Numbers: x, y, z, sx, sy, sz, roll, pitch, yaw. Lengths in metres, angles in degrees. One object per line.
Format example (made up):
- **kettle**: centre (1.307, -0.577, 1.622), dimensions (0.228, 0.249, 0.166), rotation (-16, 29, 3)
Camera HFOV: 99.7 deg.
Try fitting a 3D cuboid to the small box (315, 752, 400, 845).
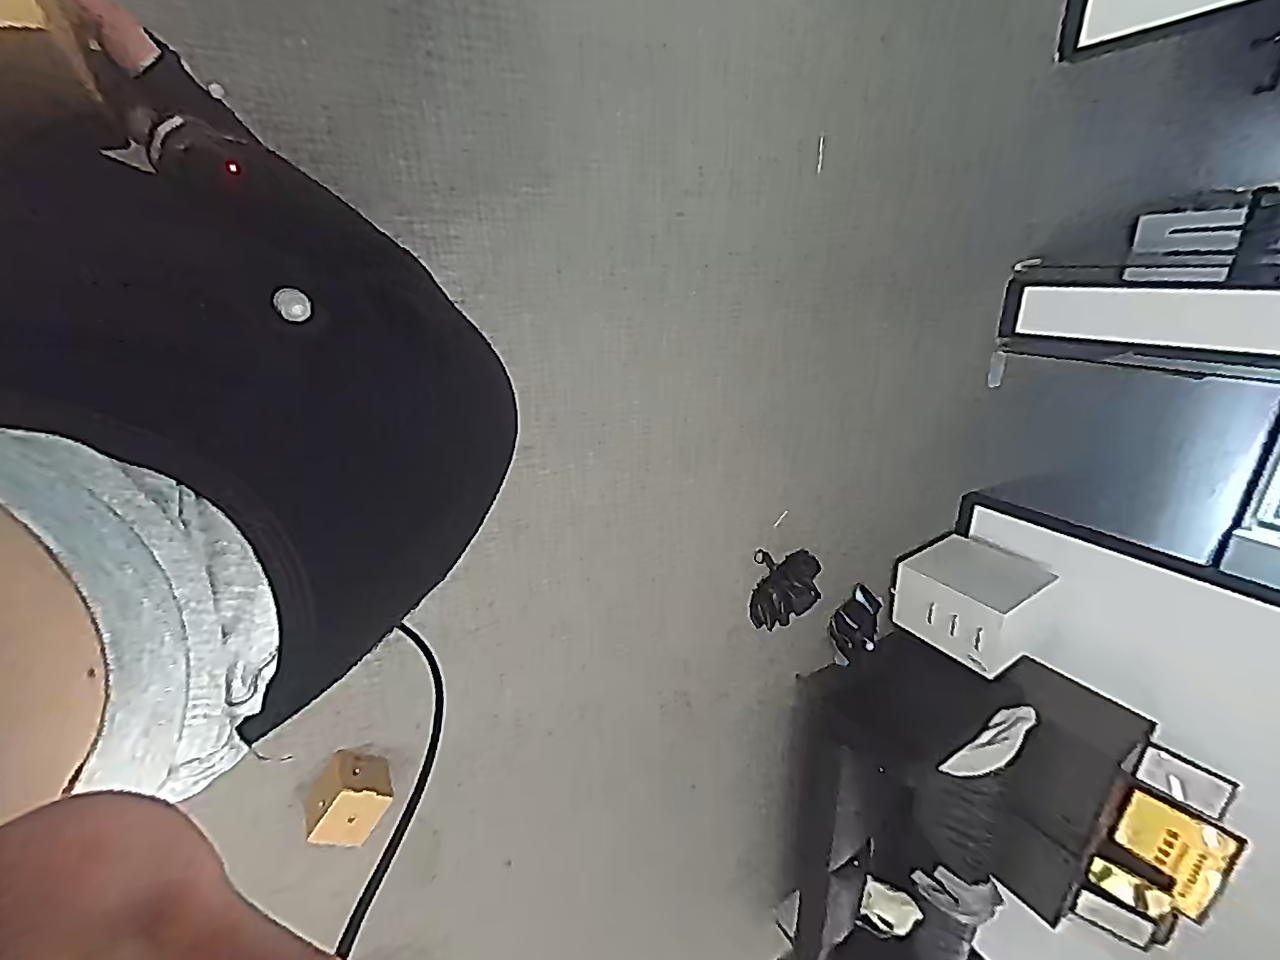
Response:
- **small box**: centre (-0.867, 0.966, 1.646), dimensions (0.168, 0.176, 0.179), rotation (35, 88, -37)
